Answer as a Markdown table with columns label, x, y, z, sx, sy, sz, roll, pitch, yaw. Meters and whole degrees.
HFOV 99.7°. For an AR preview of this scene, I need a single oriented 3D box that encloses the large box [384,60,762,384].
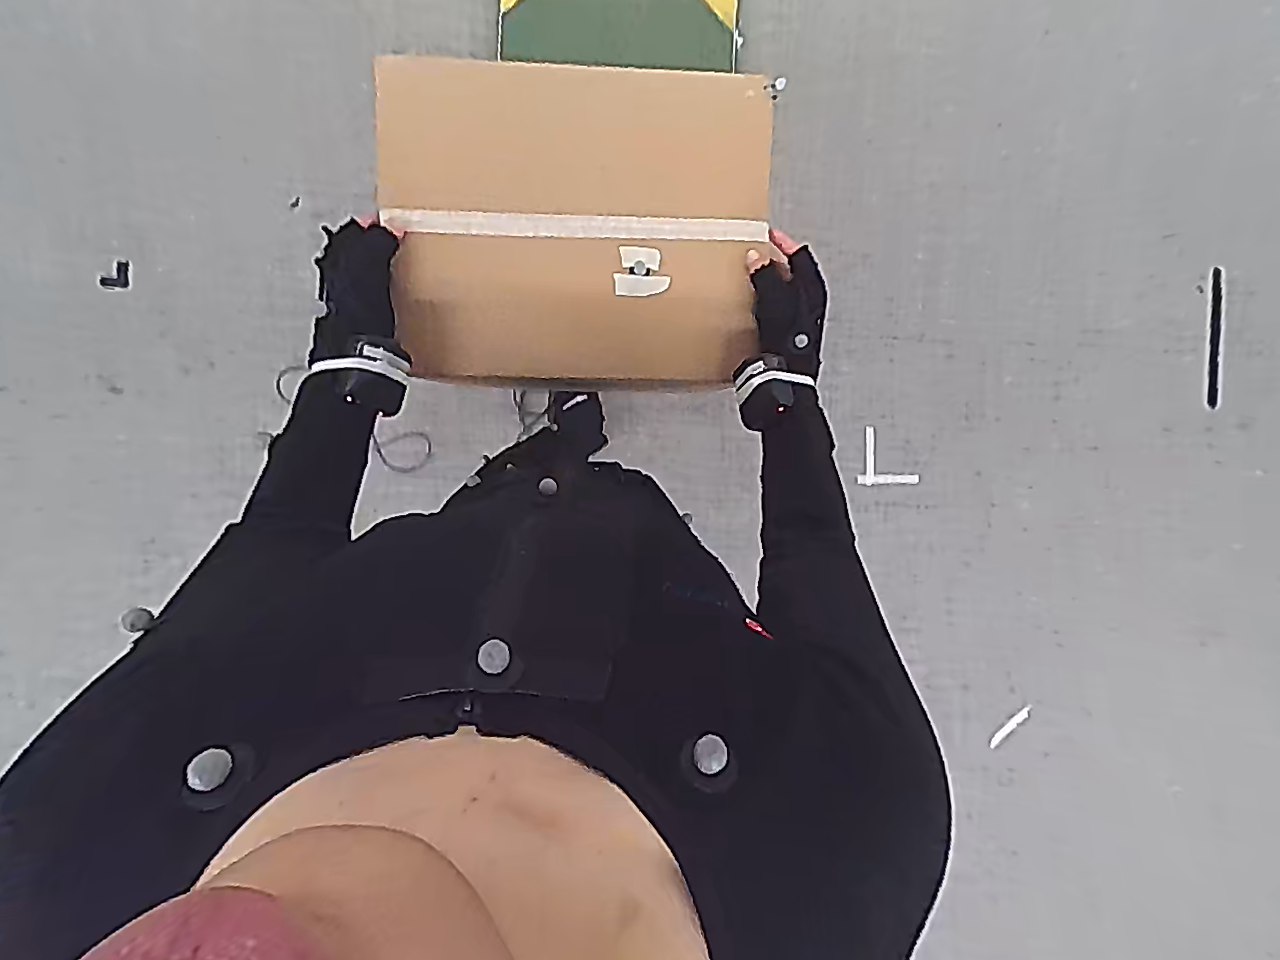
| label | x | y | z | sx | sy | sz | roll | pitch | yaw |
| --- | --- | --- | --- | --- | --- | --- | --- | --- | --- |
| large box | -0.076 | -0.299 | 0.731 | 0.408 | 0.320 | 0.320 | 0 | 97 | -4 |
